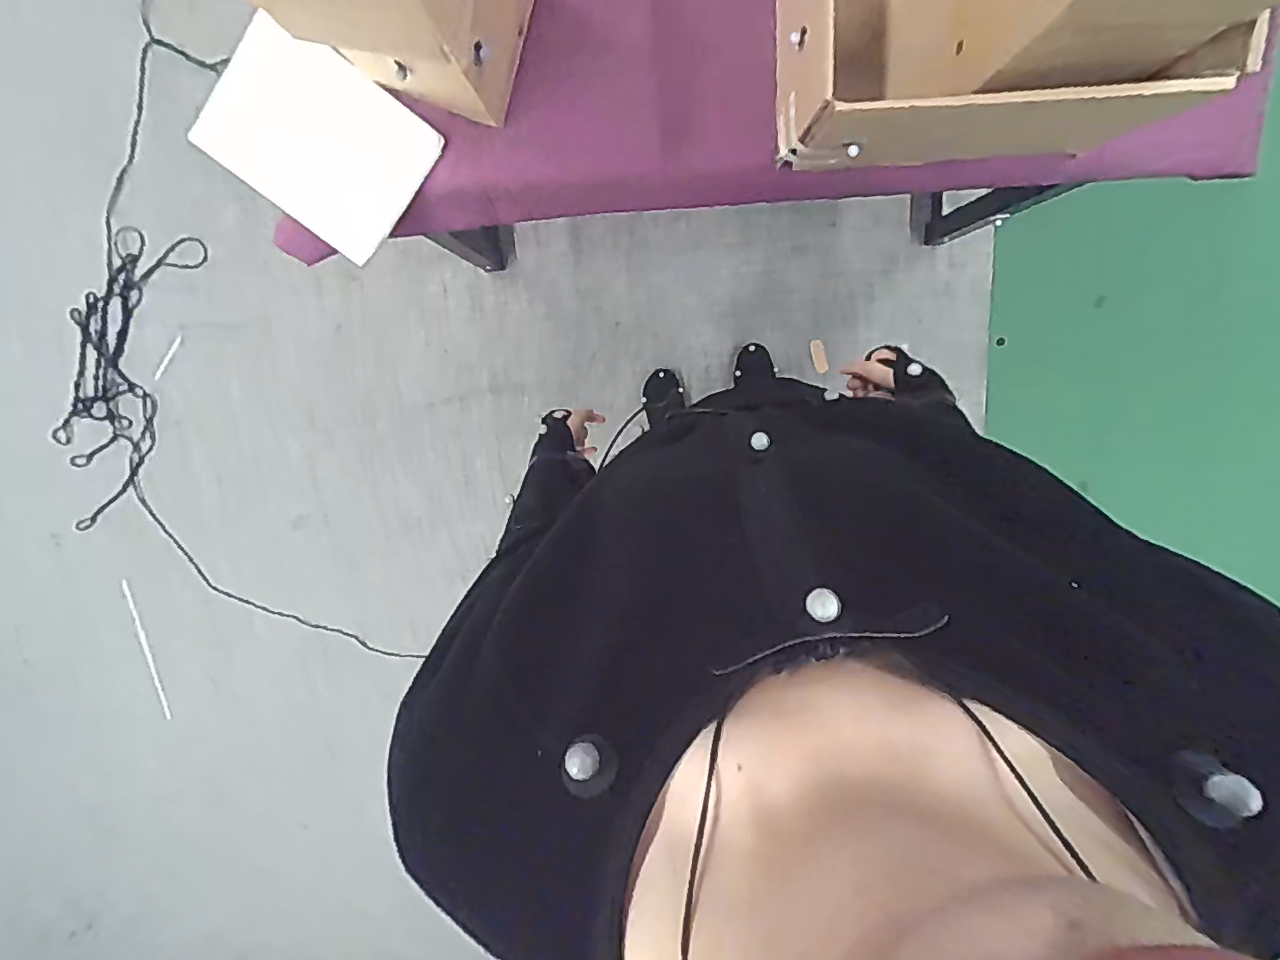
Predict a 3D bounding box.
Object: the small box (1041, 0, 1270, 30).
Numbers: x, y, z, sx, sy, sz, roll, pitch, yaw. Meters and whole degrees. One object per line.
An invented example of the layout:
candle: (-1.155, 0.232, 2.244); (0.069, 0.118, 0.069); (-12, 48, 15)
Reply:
small box: (0.428, -0.452, 0.370); (0.179, 0.176, 0.168); (0, 101, 4)

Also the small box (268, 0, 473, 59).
small box: (-0.236, -0.481, 0.433); (0.179, 0.176, 0.168); (10, 102, 0)
